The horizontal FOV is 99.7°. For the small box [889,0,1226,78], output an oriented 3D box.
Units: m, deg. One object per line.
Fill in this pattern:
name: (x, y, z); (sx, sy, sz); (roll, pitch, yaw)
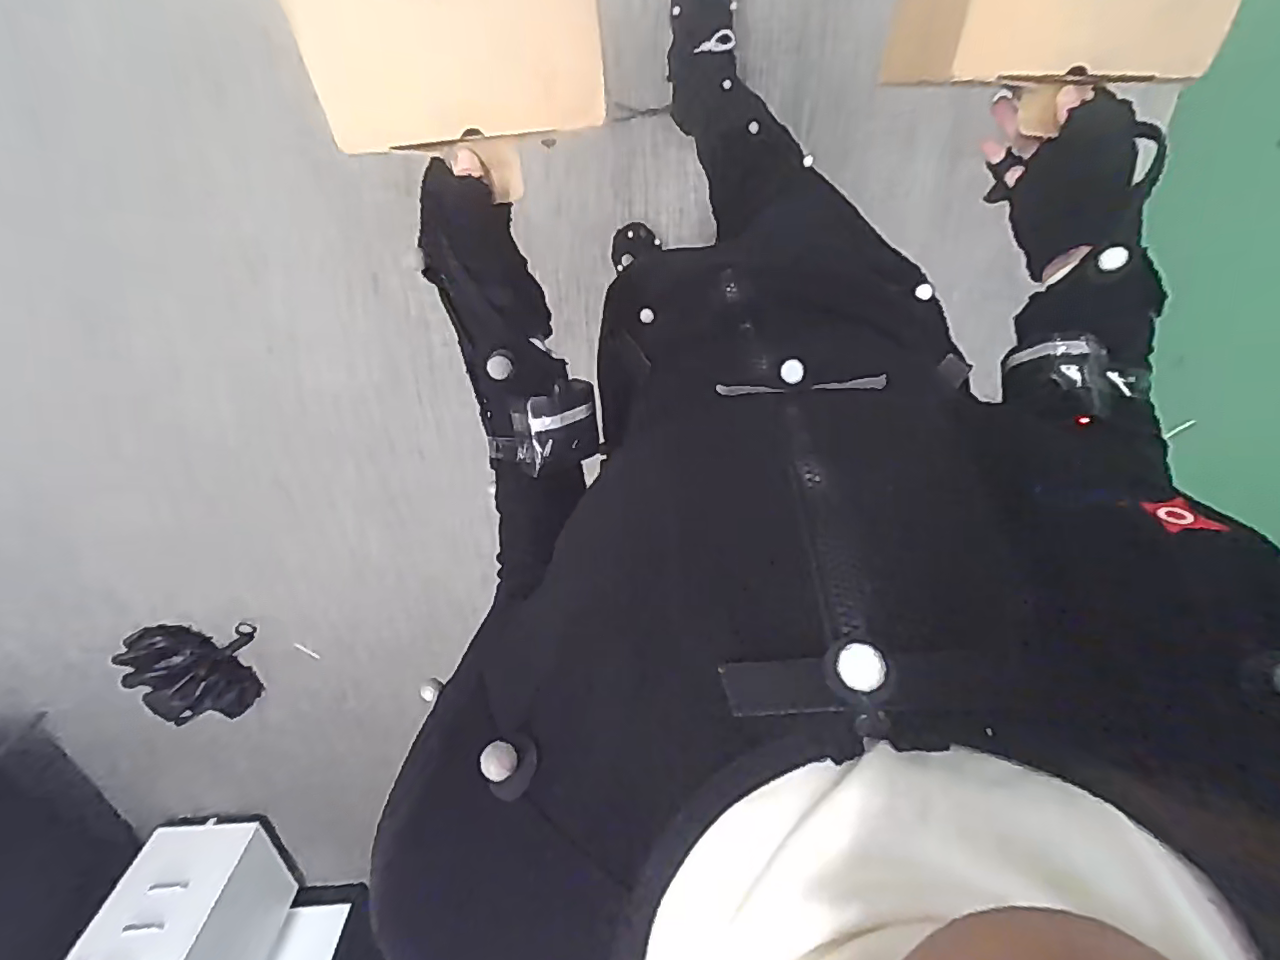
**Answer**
small box: (0.299, -0.397, 0.385); (0.168, 0.176, 0.179); (2, 126, 2)

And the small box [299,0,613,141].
small box: (-0.105, -0.330, 0.333); (0.168, 0.176, 0.179); (-6, 129, 1)

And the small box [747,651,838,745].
small box: (0.393, 0.572, 1.430); (0.179, 0.176, 0.168); (2, 116, -4)
